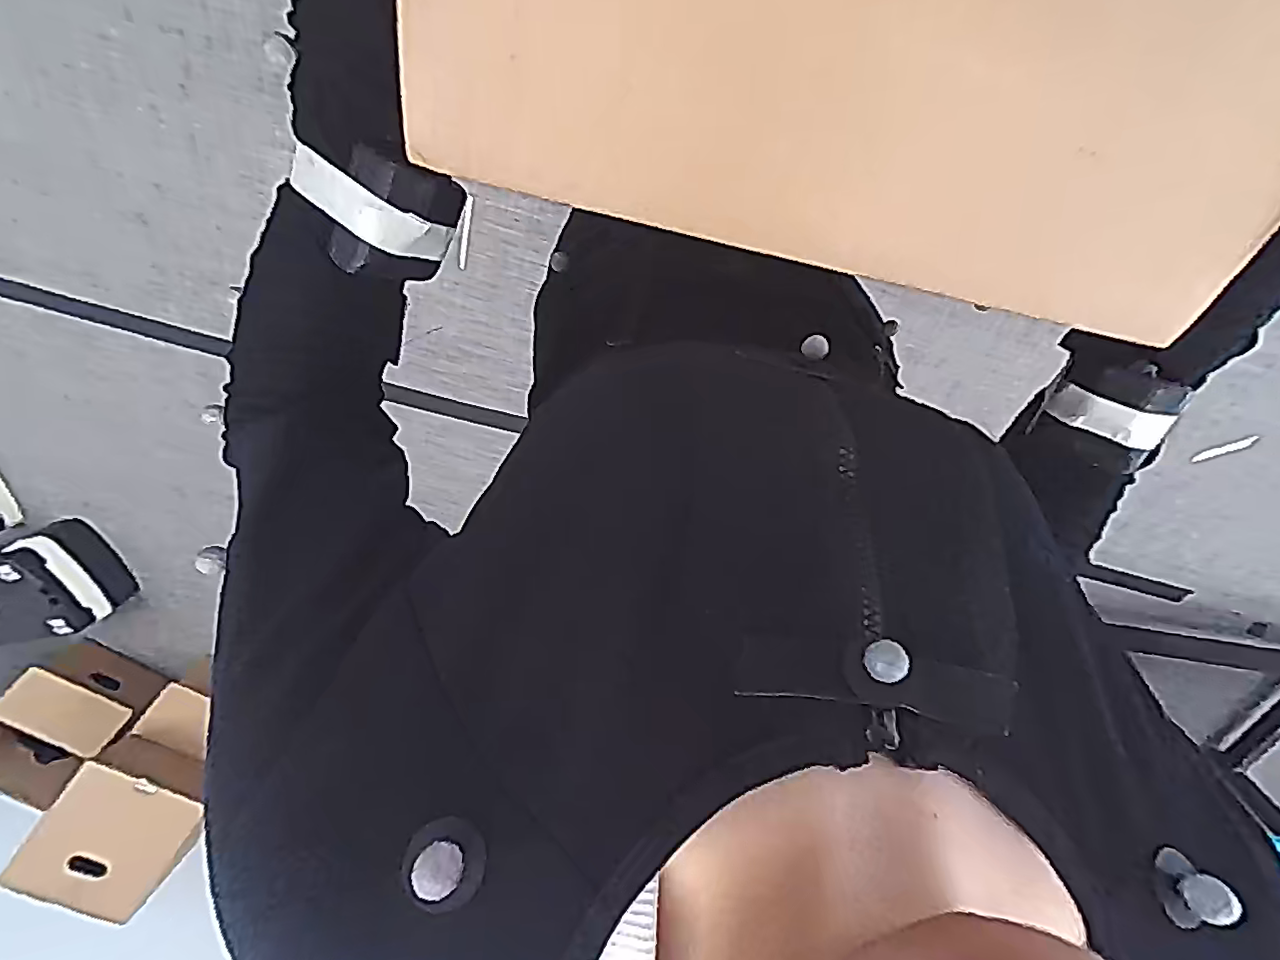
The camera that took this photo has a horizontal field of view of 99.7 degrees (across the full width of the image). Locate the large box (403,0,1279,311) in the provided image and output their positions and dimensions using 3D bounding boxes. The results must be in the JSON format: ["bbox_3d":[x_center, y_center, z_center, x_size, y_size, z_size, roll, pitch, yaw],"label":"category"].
[{"bbox_3d":[0.120,-0.333,0.296,0.408,0.320,0.320,10,129,-6],"label":"large box"}]
